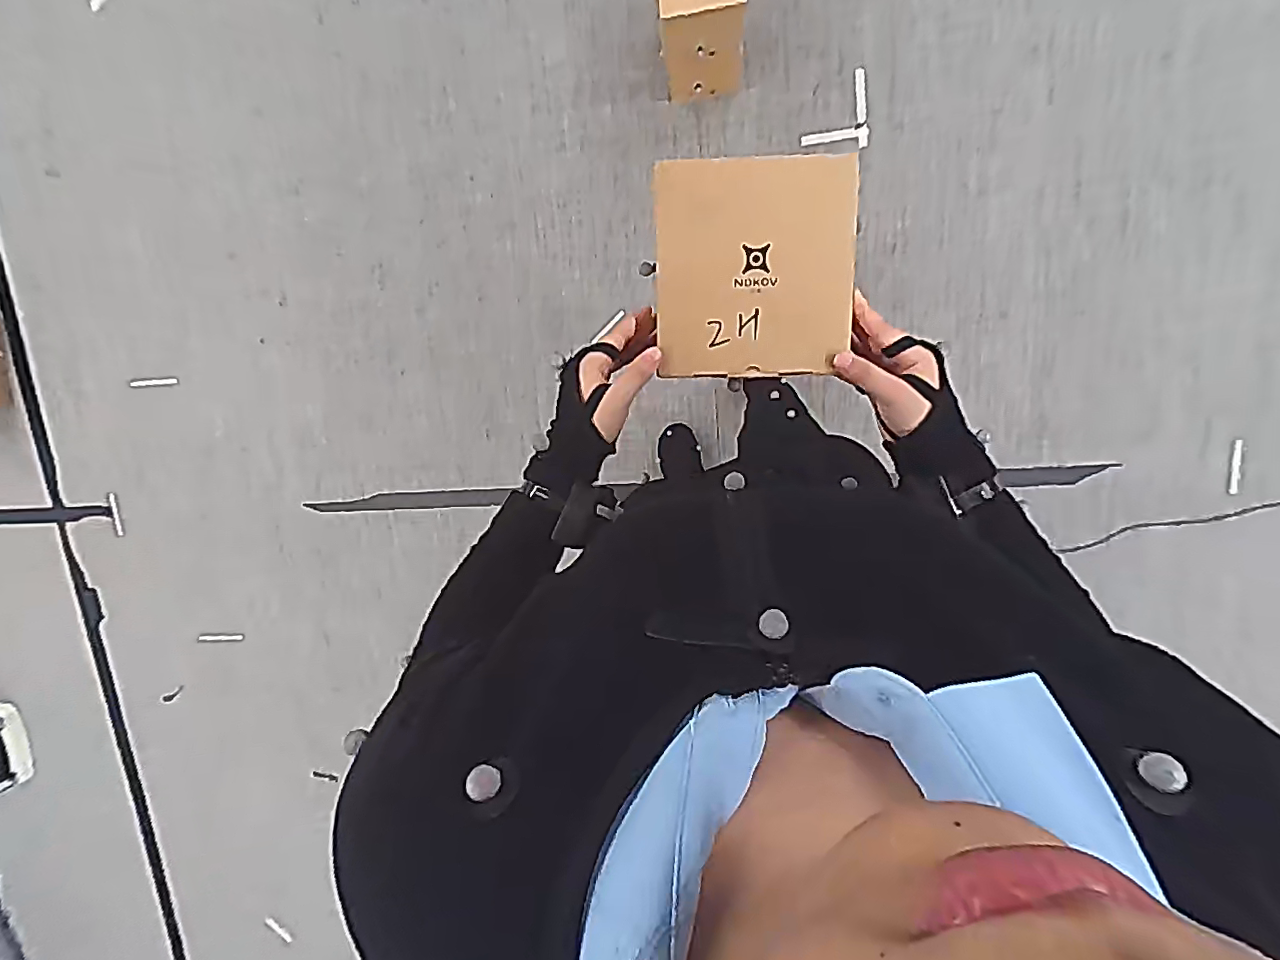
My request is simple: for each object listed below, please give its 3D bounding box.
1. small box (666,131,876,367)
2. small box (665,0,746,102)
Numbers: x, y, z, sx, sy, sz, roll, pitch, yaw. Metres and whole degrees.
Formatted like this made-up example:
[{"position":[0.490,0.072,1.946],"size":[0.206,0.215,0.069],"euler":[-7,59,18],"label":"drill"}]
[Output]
[{"position":[0.109,-0.202,0.519],"size":[0.168,0.176,0.179],"euler":[-1,101,3],"label":"small box"},{"position":[0.145,-1.009,1.231],"size":[0.168,0.176,0.179],"euler":[-5,99,6],"label":"small box"}]
